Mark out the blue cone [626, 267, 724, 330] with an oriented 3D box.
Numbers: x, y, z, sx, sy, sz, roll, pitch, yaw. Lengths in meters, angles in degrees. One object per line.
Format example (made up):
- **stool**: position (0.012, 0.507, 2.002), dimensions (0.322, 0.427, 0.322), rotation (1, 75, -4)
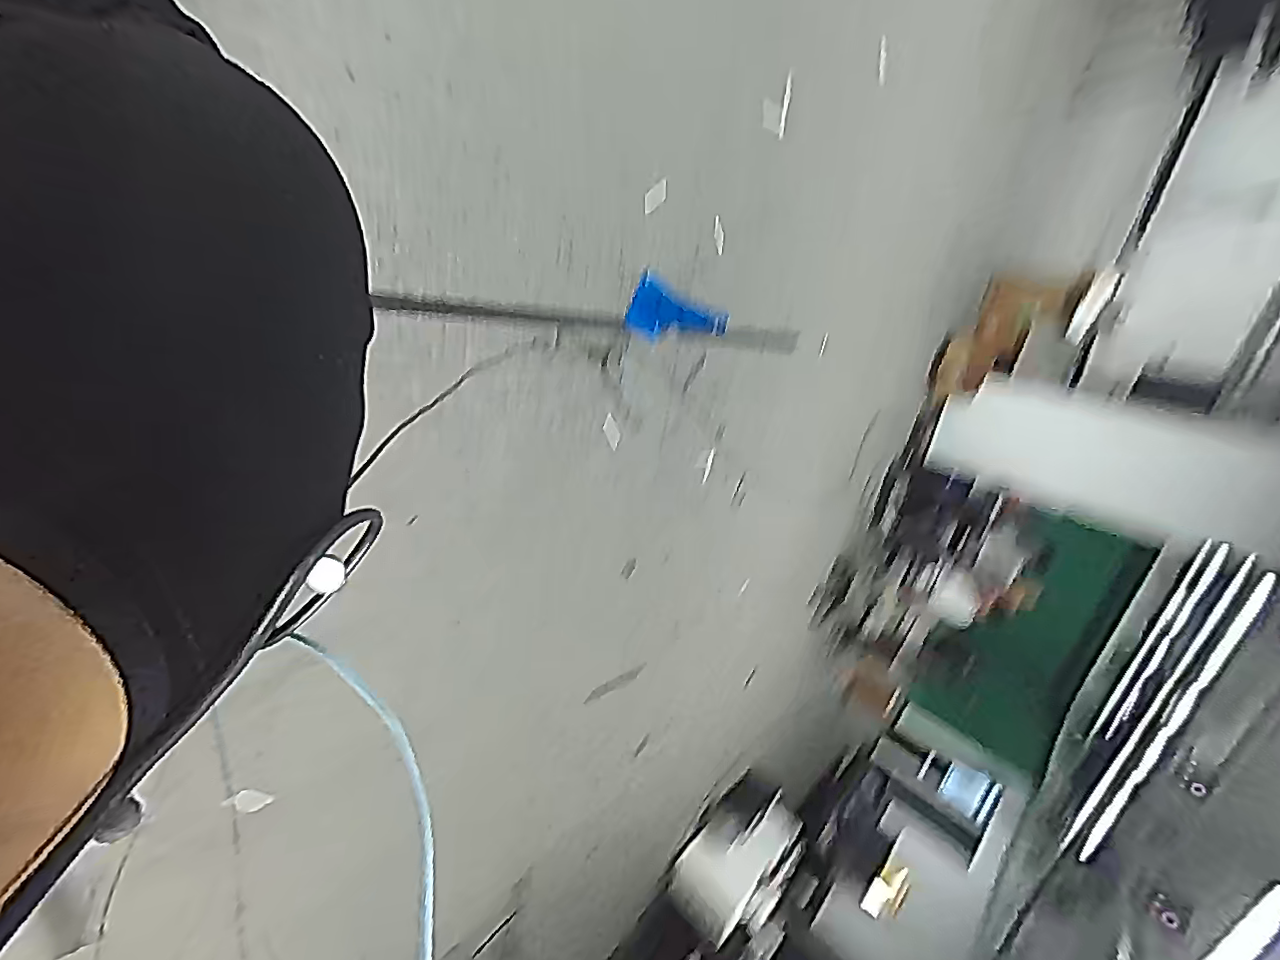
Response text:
- **blue cone**: position (0.149, -0.623, 1.935), dimensions (0.192, 0.380, 0.193), rotation (17, 97, -50)
